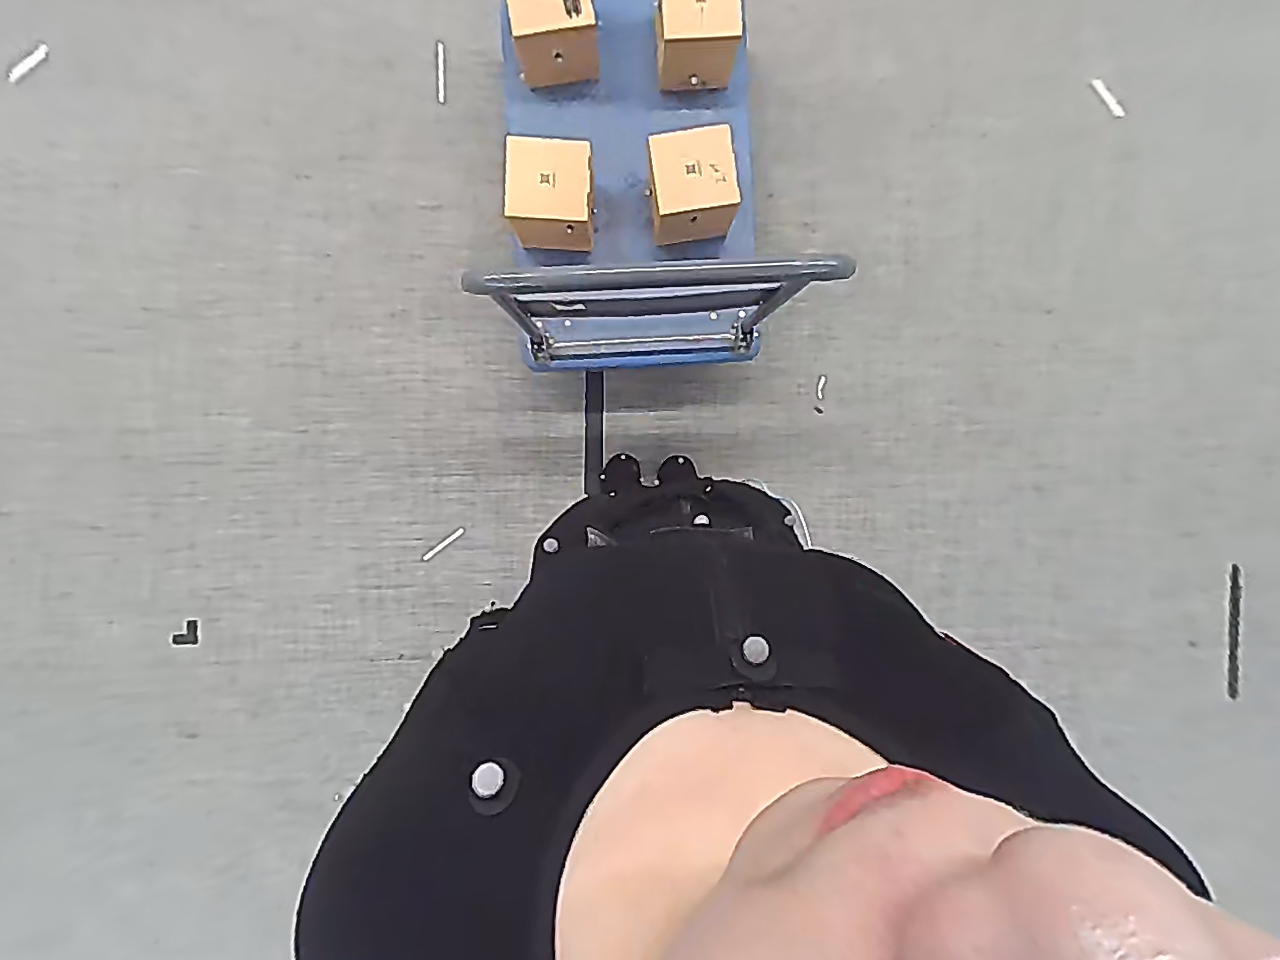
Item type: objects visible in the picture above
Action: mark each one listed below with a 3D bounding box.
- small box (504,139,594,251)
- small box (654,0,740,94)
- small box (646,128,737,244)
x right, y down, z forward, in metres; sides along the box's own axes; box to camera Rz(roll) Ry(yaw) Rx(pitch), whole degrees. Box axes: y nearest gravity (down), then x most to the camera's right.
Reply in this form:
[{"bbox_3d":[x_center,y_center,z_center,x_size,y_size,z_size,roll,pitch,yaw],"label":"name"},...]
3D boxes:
[{"bbox_3d":[-0.197,-0.628,1.210,0.179,0.176,0.168,2,92,-3],"label":"small box"},{"bbox_3d":[0.120,-1.002,1.199,0.168,0.176,0.179,-4,94,-1],"label":"small box"},{"bbox_3d":[0.109,-0.649,1.214,0.179,0.176,0.168,-9,93,0],"label":"small box"}]
